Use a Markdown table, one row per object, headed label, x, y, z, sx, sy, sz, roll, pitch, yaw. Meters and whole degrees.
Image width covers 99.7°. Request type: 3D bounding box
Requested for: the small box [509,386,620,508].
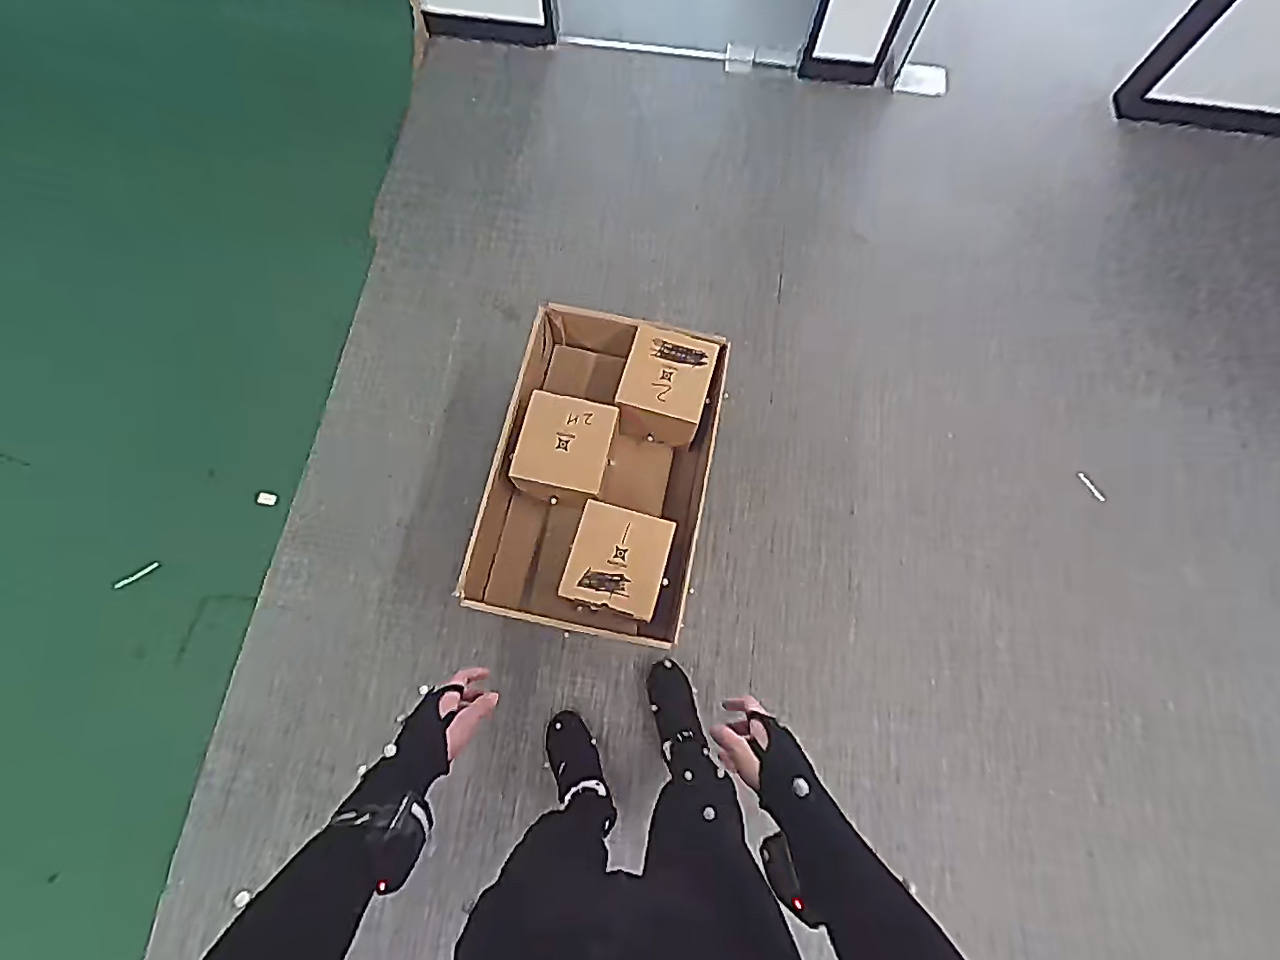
| label | x | y | z | sx | sy | sz | roll | pitch | yaw |
| --- | --- | --- | --- | --- | --- | --- | --- | --- | --- |
| small box | -0.137 | -0.055 | 1.050 | 0.168 | 0.176 | 0.179 | 13 | 75 | 1 |
